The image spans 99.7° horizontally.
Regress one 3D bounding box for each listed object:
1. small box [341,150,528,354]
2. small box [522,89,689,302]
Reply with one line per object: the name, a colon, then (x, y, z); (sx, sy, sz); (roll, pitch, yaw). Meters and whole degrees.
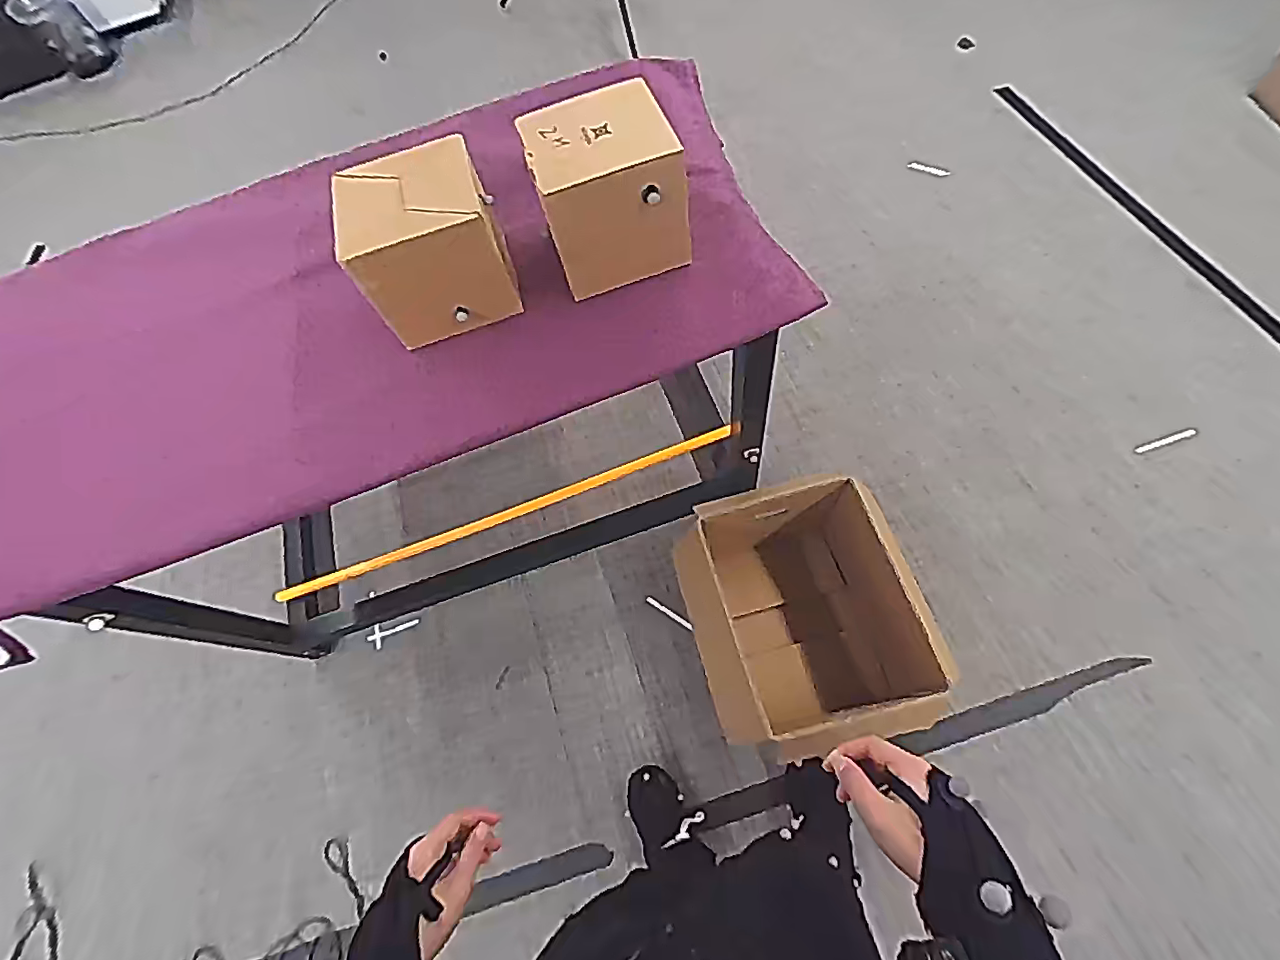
small box: (-0.275, -0.307, 0.732); (0.179, 0.176, 0.168); (-19, 63, 0)
small box: (-0.039, -0.376, 0.732); (0.179, 0.176, 0.168); (-19, 62, -1)
